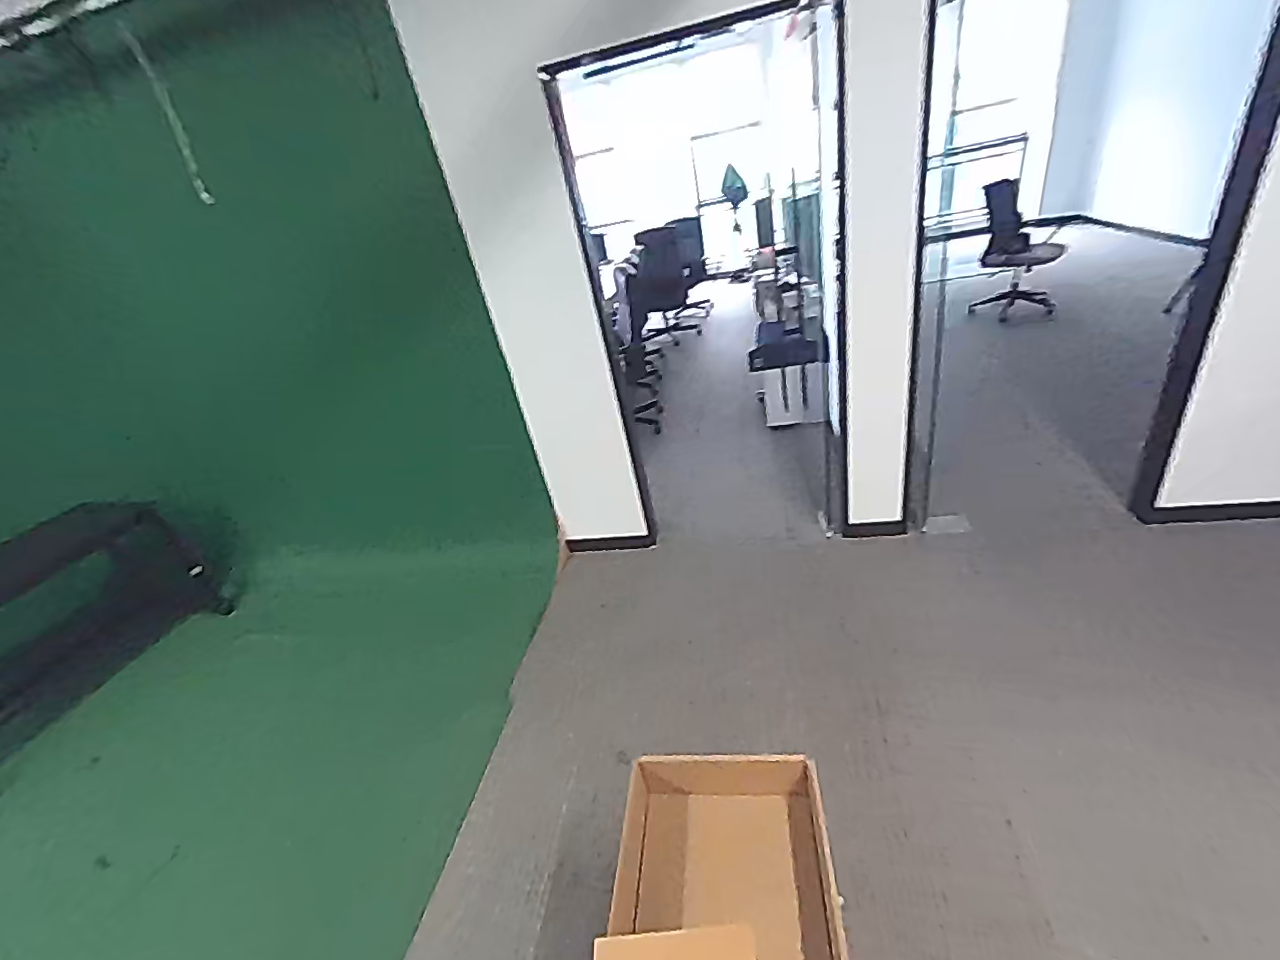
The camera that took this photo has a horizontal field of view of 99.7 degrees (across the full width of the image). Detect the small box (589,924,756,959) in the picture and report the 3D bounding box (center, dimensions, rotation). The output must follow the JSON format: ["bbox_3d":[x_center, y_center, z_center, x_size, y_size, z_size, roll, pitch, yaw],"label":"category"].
[{"bbox_3d":[0.043,0.594,0.540,0.179,0.176,0.168,-5,23,-1],"label":"small box"}]
